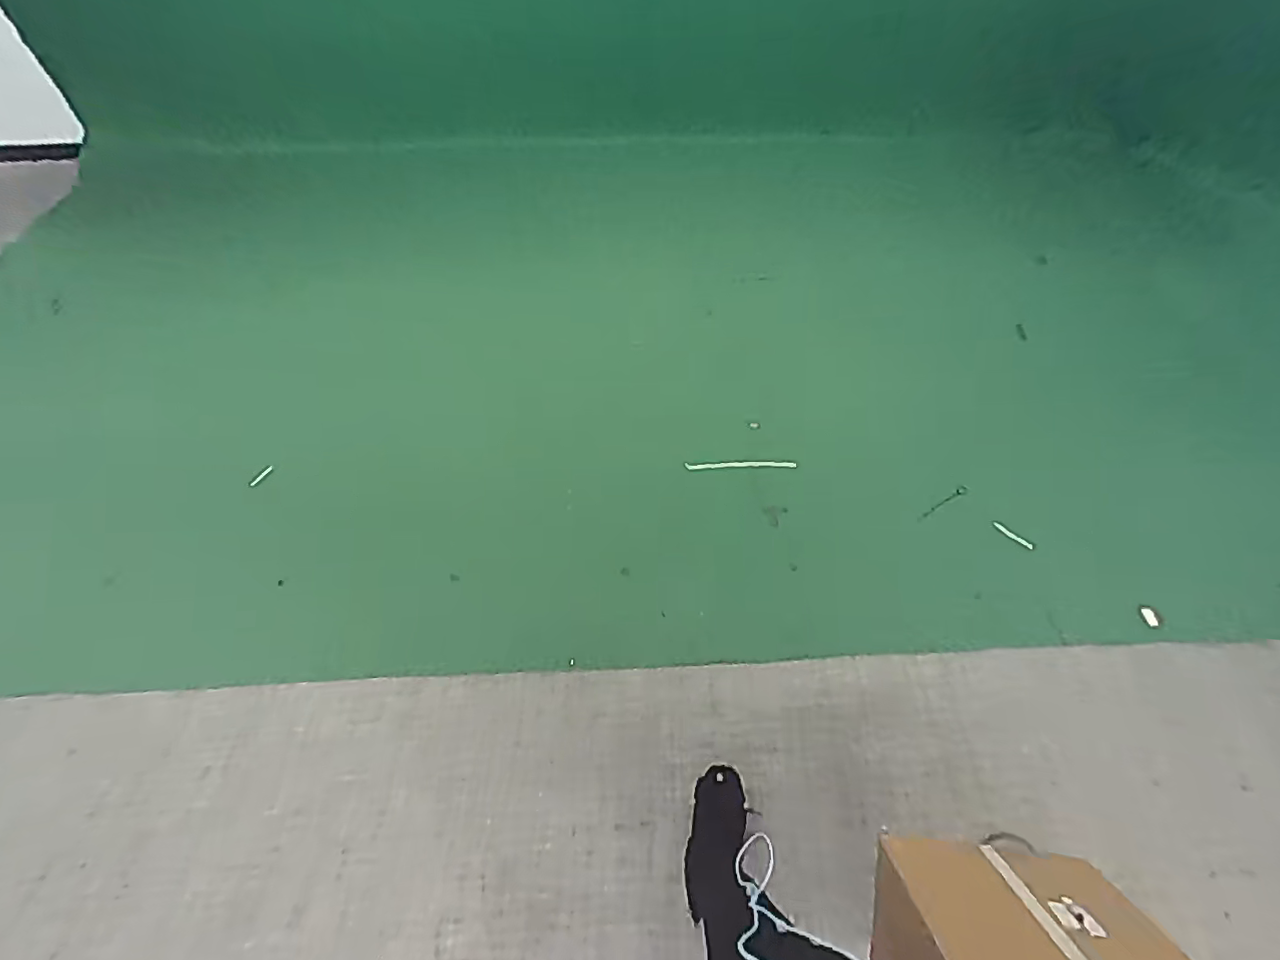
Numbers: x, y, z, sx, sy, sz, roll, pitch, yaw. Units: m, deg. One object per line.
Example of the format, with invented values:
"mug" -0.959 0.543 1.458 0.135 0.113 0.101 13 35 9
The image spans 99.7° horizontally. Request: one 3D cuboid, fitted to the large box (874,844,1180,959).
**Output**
"large box" 0.505 0.732 0.646 0.320 0.408 0.320 5 89 5
